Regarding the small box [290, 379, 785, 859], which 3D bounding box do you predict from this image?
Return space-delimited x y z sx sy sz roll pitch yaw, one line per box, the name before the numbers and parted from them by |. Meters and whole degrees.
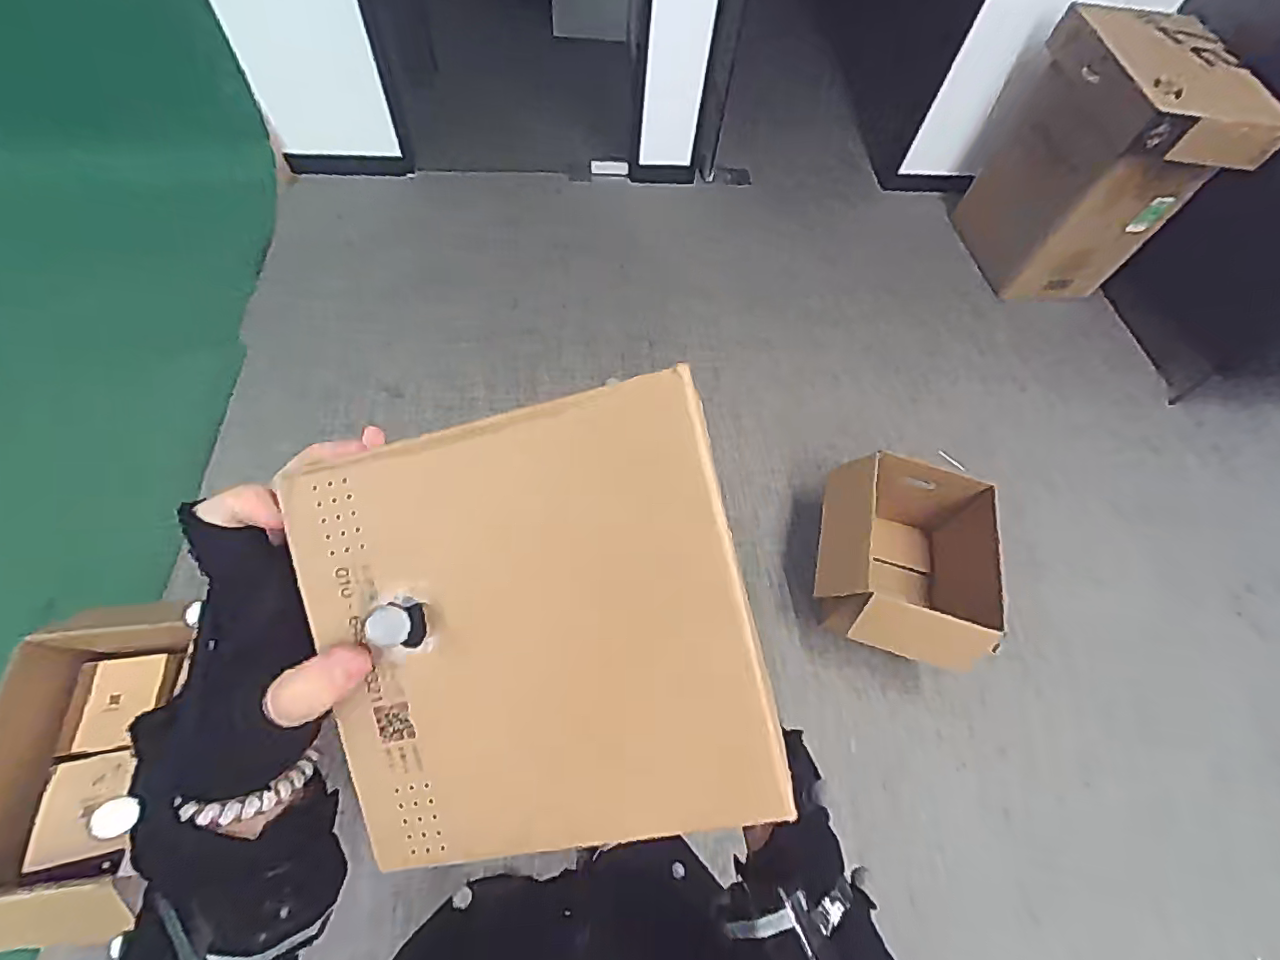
small box | -0.035 0.056 0.289 0.176 0.179 0.168 -15 92 9
